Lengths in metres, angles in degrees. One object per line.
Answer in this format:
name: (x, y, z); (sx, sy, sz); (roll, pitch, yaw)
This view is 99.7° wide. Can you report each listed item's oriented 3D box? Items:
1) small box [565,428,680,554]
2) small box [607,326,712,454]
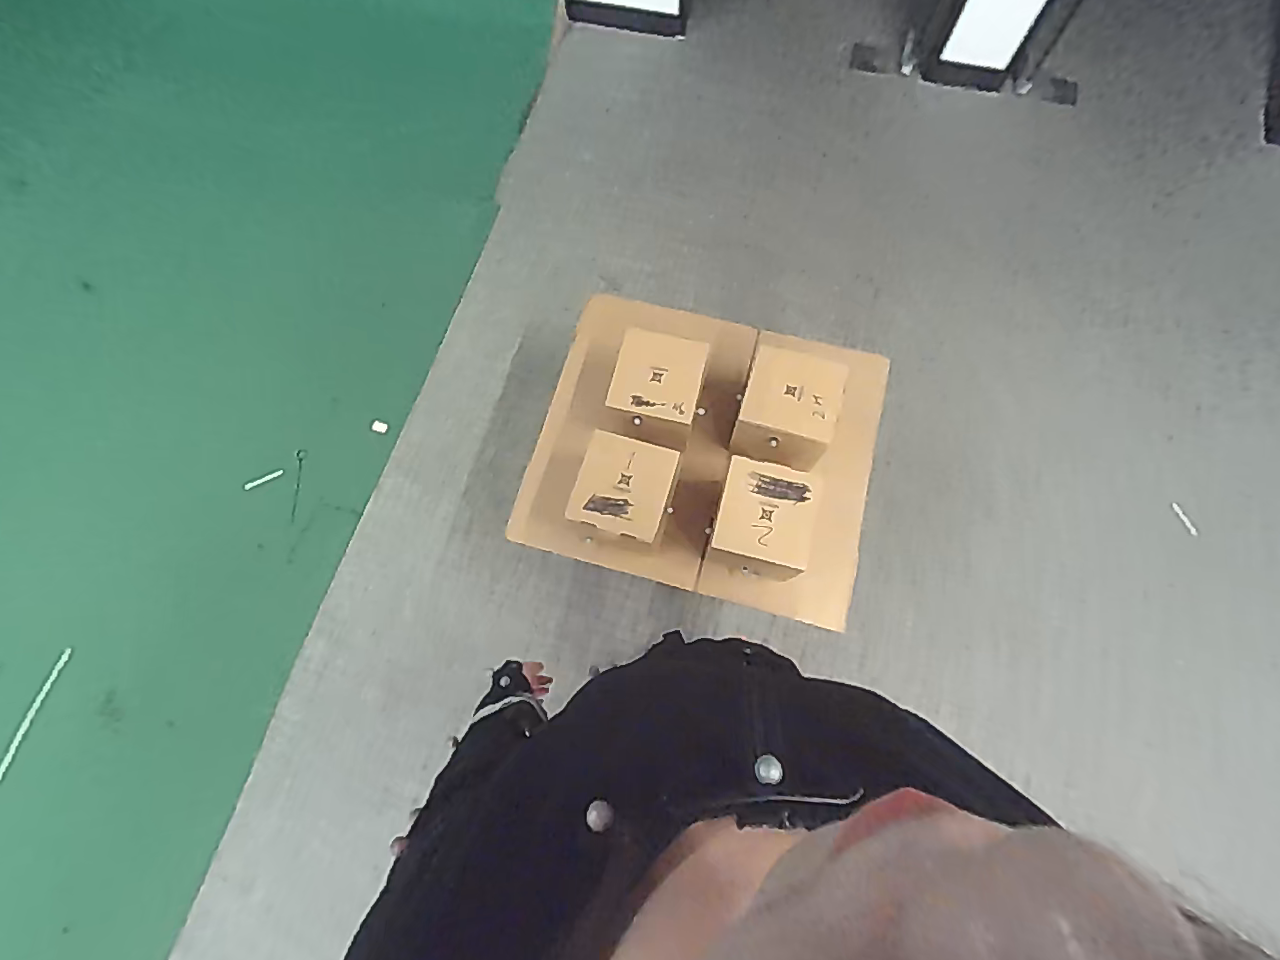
small box: (-0.024, 0.029, 1.028); (0.168, 0.176, 0.179); (16, 74, 7)
small box: (0.041, -0.175, 1.086); (0.168, 0.176, 0.179); (13, 73, 8)
